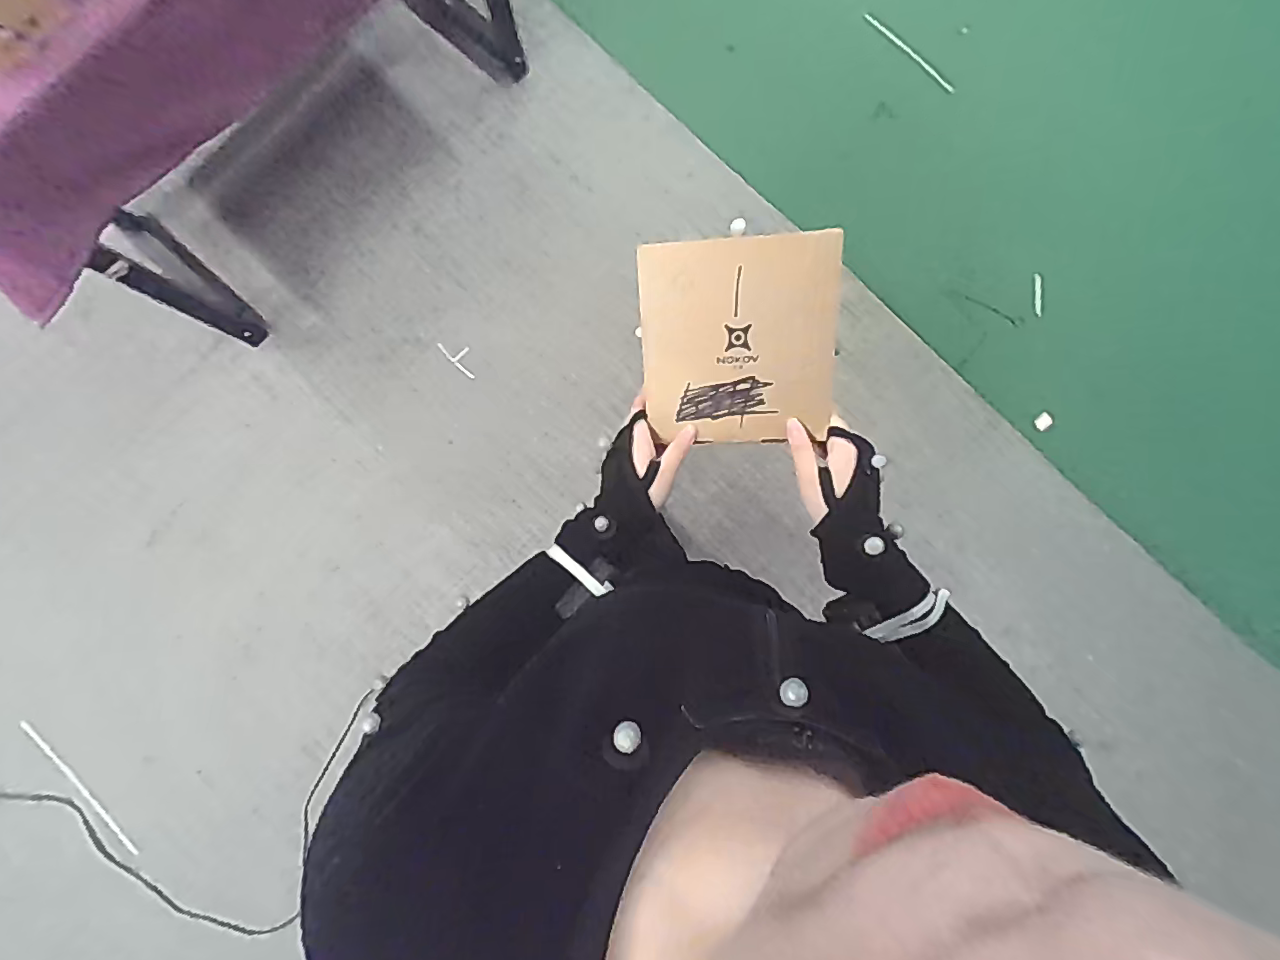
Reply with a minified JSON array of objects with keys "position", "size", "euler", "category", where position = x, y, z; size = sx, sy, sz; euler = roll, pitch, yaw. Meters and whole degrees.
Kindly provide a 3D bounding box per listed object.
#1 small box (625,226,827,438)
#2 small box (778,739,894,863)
[{"position":[0.082,-0.151,0.542],"size":[0.168,0.176,0.179],"euler":[-1,112,8],"category":"small box"},{"position":[0.465,0.762,1.315],"size":[0.168,0.176,0.179],"euler":[-44,85,-4],"category":"small box"}]
